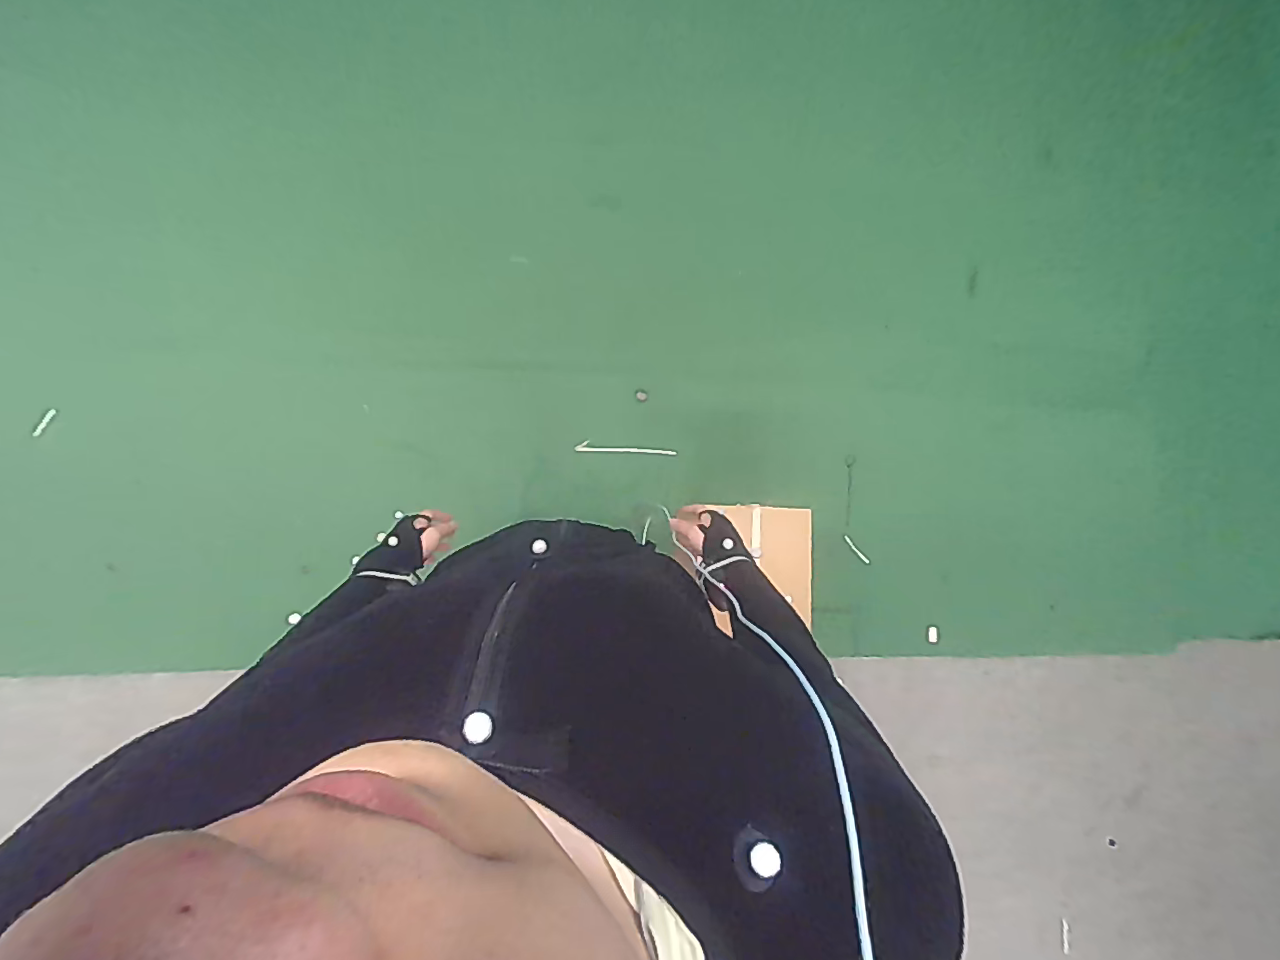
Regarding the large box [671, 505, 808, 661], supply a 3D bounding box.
[{"bbox_3d":[0.272,0.278,1.559,0.320,0.320,0.408,3,85,-8],"label":"large box"}]
